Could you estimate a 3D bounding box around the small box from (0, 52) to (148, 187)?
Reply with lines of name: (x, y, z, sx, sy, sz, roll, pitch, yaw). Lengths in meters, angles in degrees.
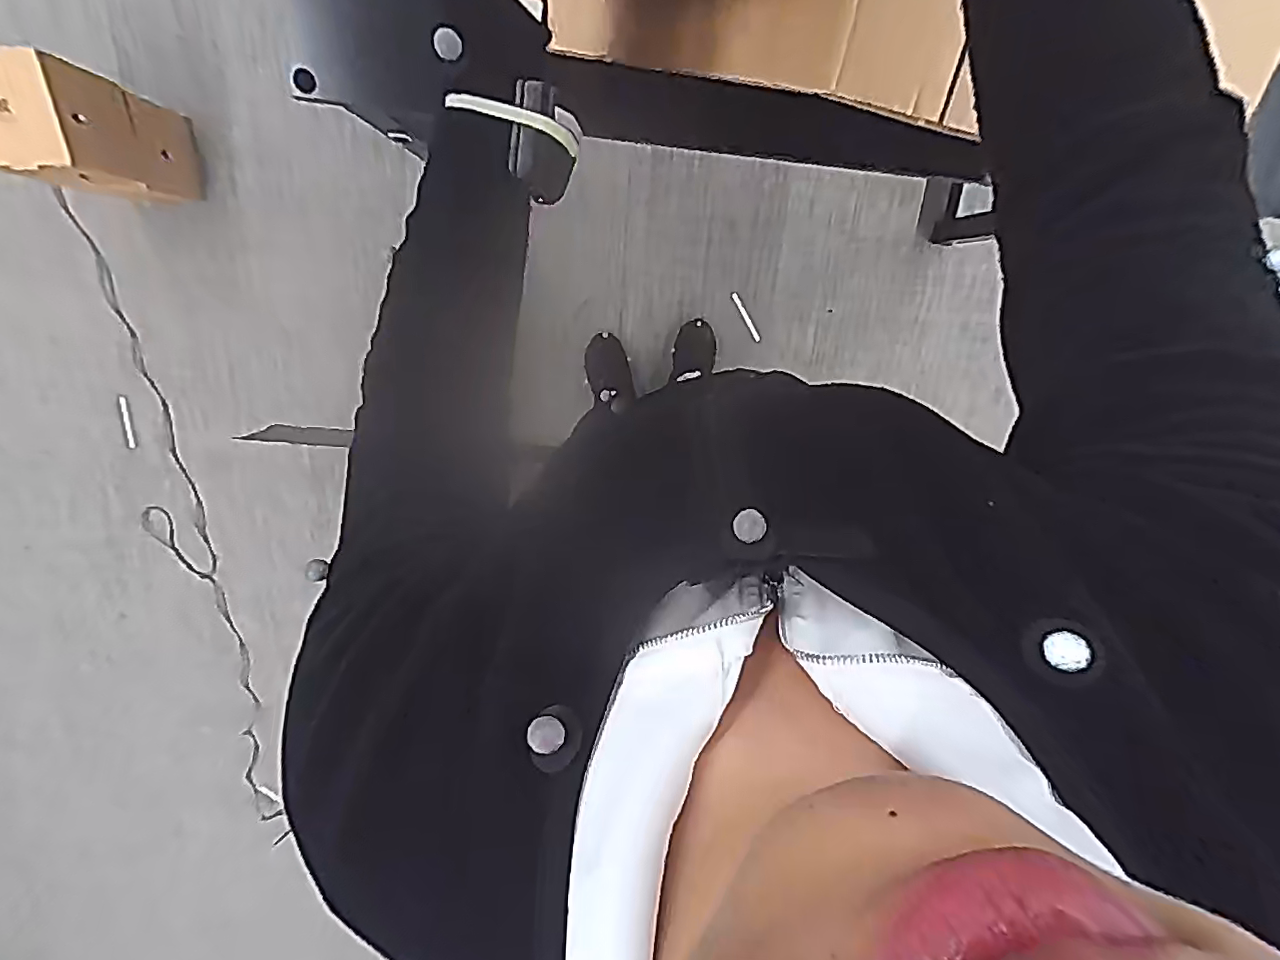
small box: (-1.066, -0.647, 0.991, 0.168, 0.176, 0.179, -3, 108, -3)

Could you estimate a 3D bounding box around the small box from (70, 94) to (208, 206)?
small box: (-1.073, -0.694, 1.146, 0.168, 0.176, 0.179, 1, 110, -3)
